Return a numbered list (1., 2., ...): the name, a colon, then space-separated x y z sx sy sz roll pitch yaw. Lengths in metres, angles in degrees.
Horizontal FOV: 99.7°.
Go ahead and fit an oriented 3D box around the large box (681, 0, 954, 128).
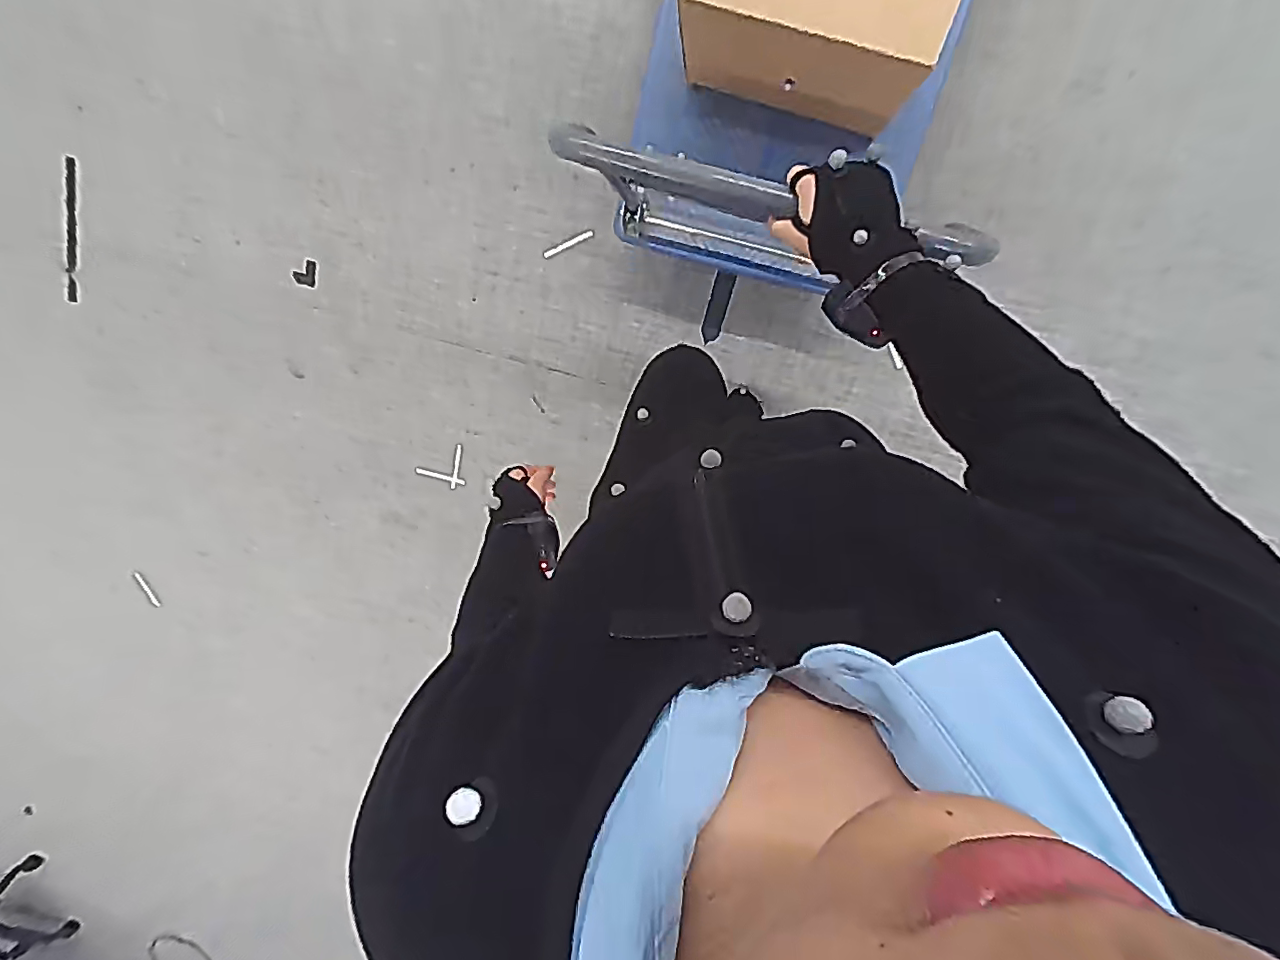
1. large box: 0.314 -0.866 0.924 0.408 0.320 0.320 18 106 3
